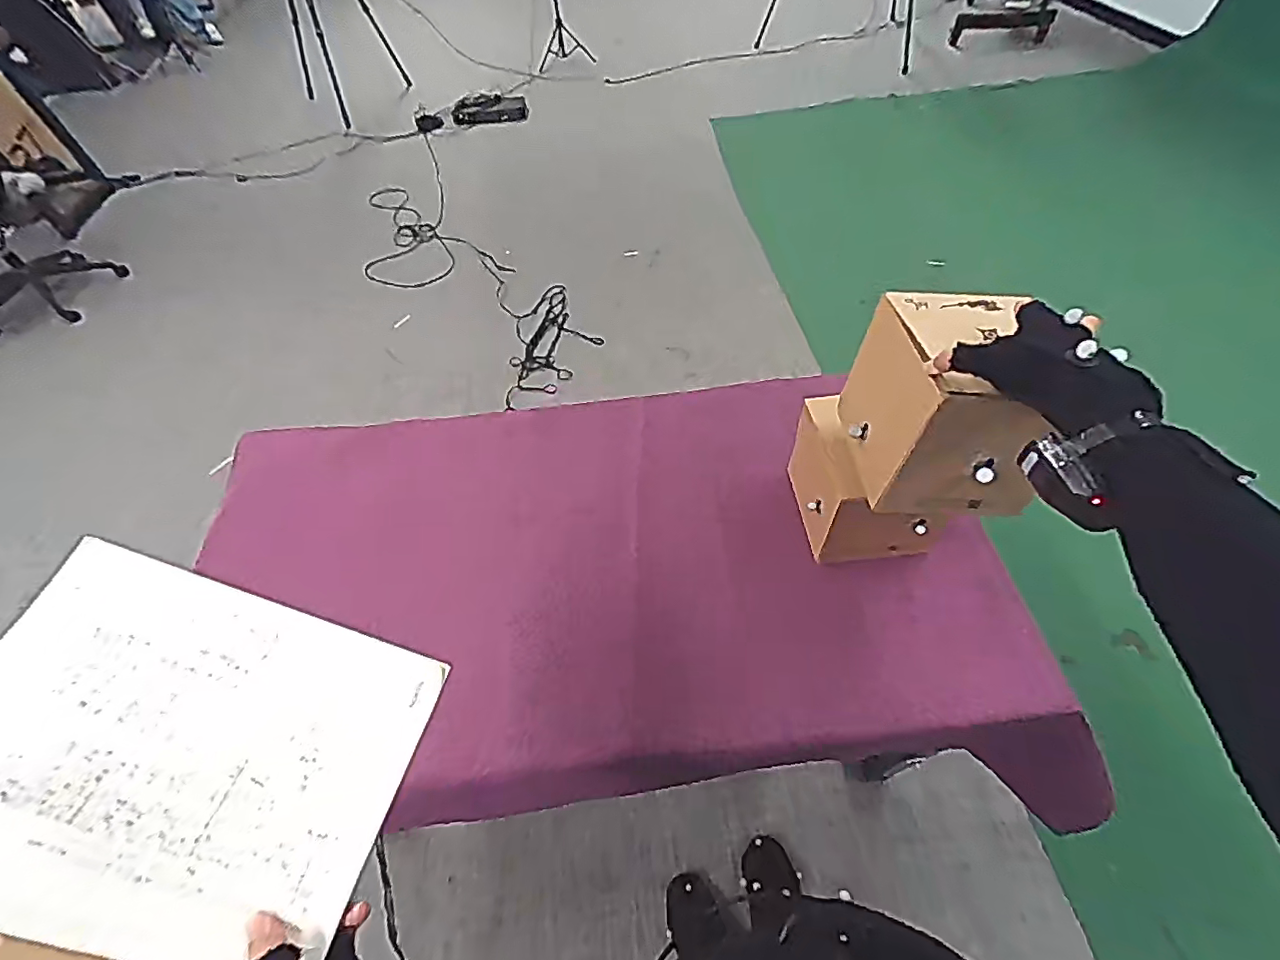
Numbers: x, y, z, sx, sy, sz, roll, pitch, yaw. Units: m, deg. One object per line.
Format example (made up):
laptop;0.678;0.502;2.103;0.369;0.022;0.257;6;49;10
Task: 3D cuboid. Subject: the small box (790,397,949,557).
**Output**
small box;0.322;-0.002;0.767;0.168;0.176;0.179;-6;53;1

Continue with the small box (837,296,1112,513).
small box;0.337;-0.079;0.591;0.168;0.176;0.179;2;49;-2
